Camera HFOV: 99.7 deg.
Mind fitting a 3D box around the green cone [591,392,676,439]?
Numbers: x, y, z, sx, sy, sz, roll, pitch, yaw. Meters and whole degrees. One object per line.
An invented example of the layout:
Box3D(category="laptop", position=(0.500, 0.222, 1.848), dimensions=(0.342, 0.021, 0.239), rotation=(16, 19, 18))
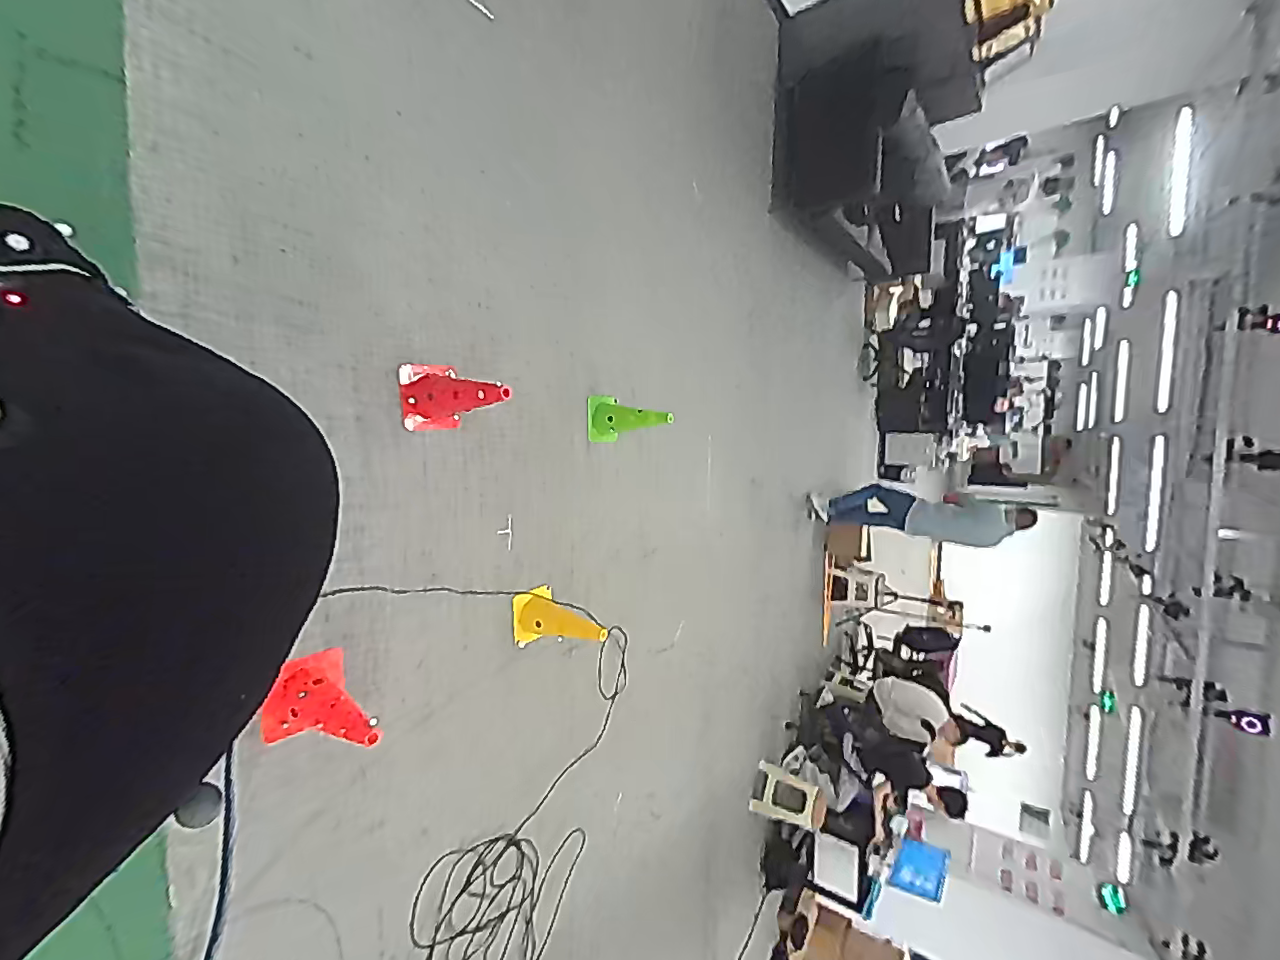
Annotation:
Box3D(category="green cone", position=(-0.011, -0.268, 2.276), dimensions=(0.200, 0.368, 0.202), rotation=(-8, 101, -53))

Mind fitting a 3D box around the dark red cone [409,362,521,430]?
Box3D(category="dark red cone", position=(-0.488, -0.251, 1.576), dimensions=(0.201, 0.394, 0.202), rotation=(-14, 104, -52))

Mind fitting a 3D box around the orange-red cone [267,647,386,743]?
Box3D(category="orange-red cone", position=(-0.741, 0.572, 1.341), dimensions=(0.199, 0.360, 0.198), rotation=(-5, 98, -55))
